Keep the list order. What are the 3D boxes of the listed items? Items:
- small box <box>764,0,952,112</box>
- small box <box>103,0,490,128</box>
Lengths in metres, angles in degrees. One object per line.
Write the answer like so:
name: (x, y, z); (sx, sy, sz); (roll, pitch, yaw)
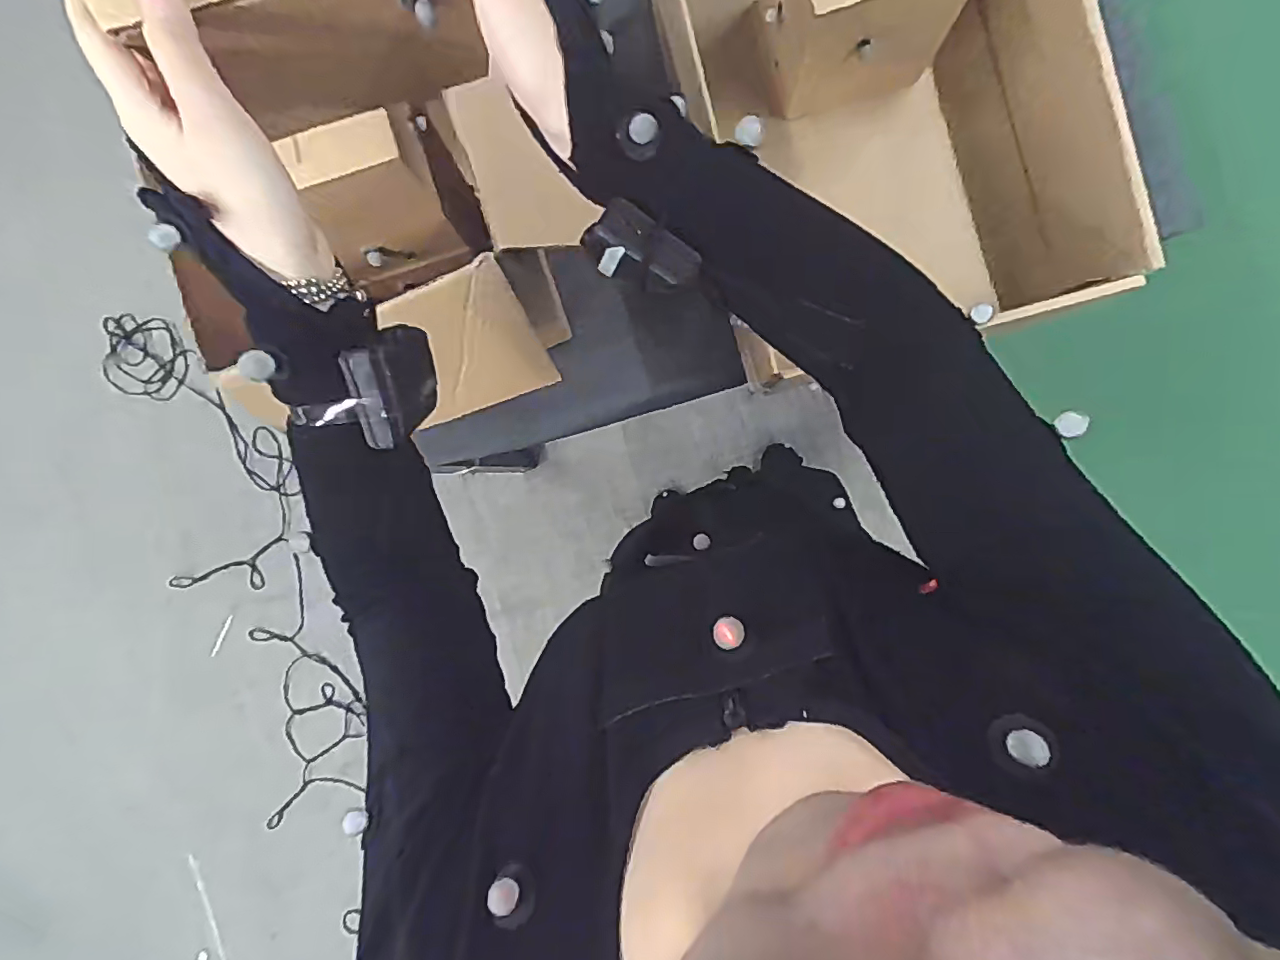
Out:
small box: (0.244, -0.567, 0.616); (0.179, 0.176, 0.168); (-14, 91, 7)
small box: (-0.188, -0.317, 0.283); (0.179, 0.176, 0.168); (-24, 113, -9)
